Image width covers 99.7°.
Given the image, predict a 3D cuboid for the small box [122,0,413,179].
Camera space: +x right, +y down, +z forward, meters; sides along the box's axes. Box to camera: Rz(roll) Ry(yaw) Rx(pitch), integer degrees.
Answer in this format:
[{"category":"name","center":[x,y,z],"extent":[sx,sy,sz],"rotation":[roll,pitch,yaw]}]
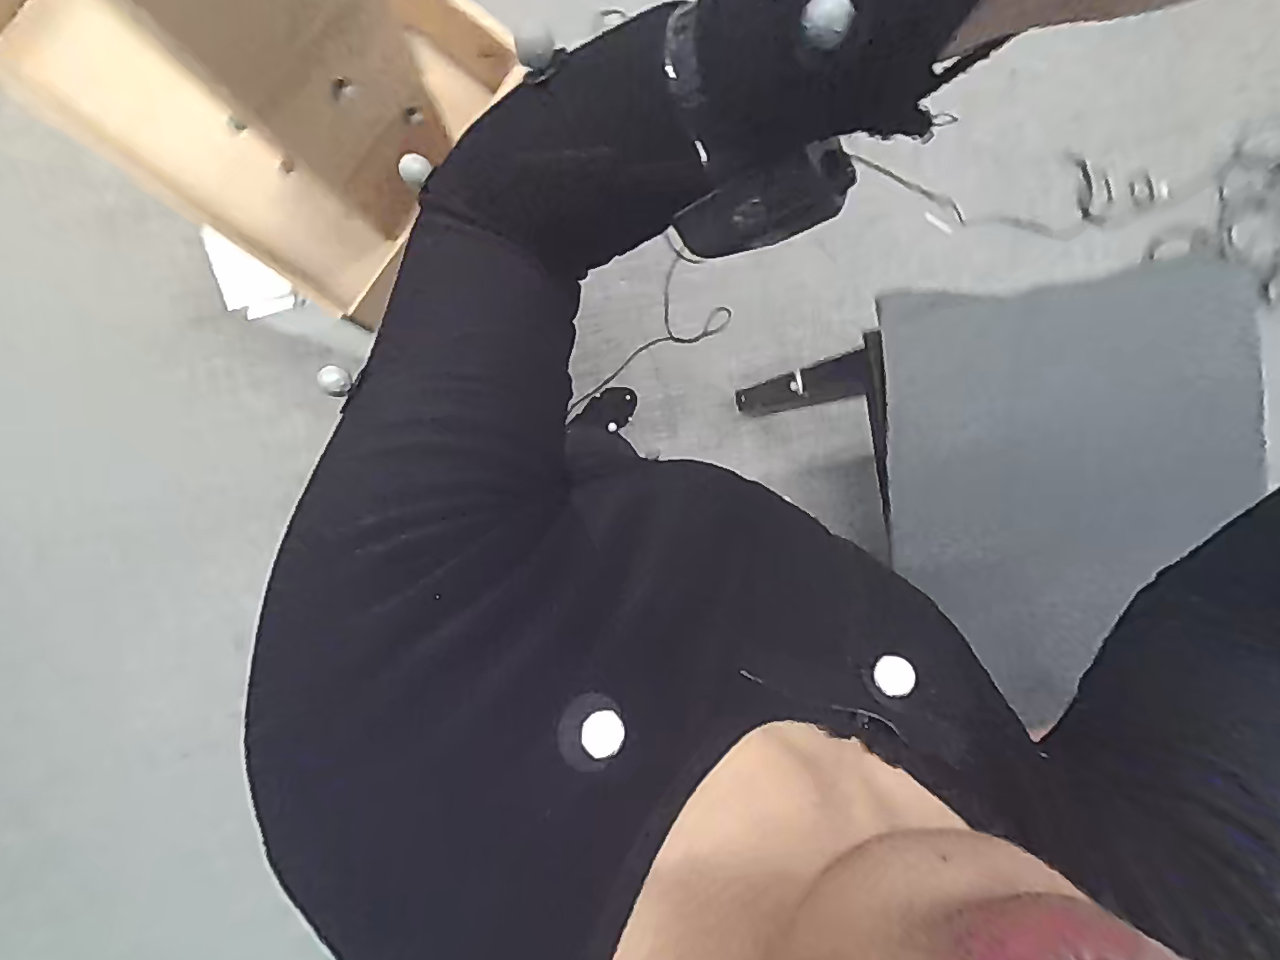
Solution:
[{"category":"small box","center":[-0.350,-0.448,0.528],"extent":[0.168,0.176,0.179],"rotation":[38,91,-6]}]
